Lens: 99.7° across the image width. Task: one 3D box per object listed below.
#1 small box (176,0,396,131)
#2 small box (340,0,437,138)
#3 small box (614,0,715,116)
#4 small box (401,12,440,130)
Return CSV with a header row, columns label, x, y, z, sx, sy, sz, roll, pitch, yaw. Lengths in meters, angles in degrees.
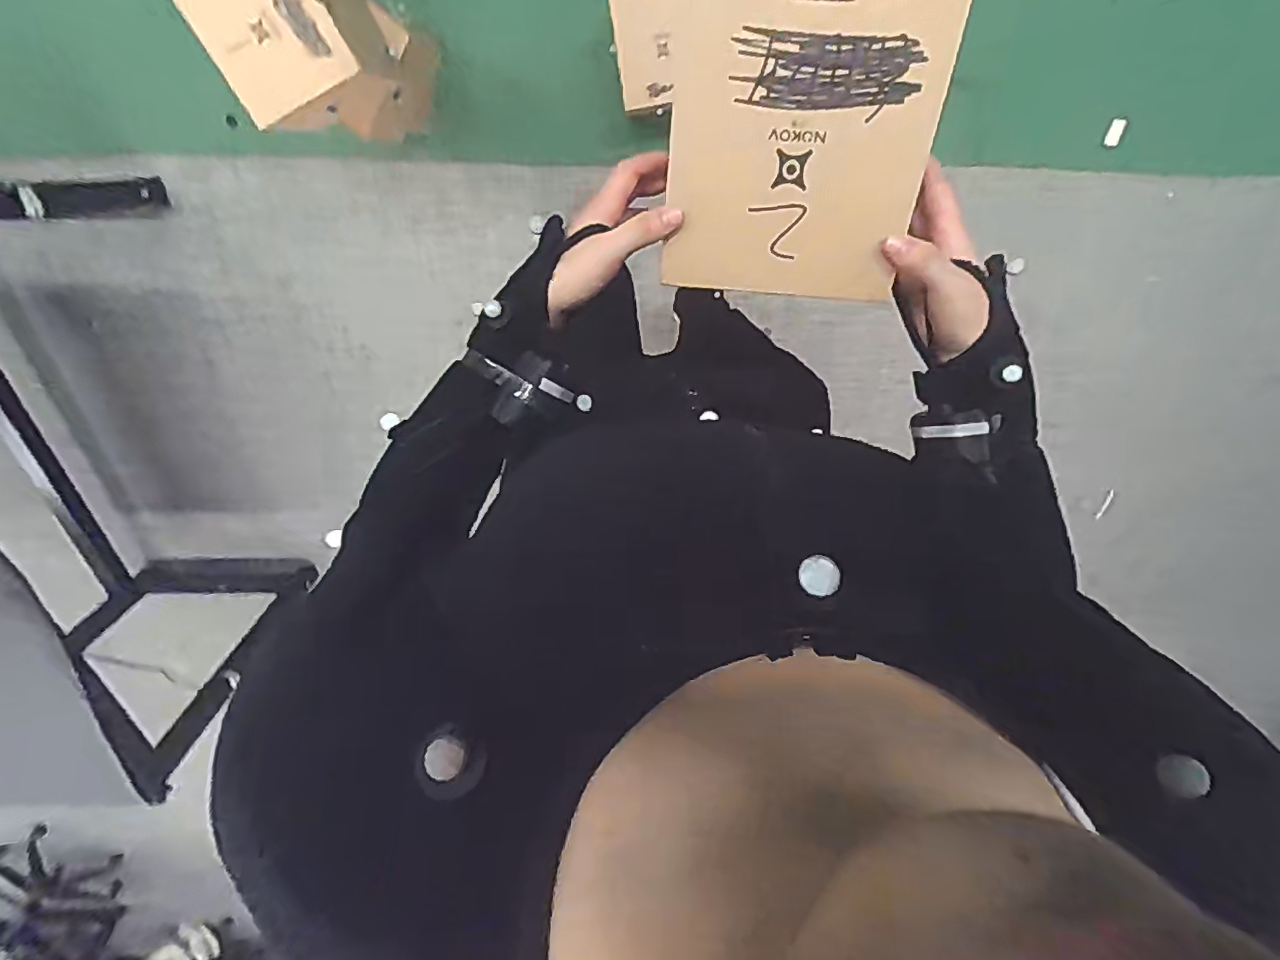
label,x,y,z,sx,sy,sz,roll,pitch,yaw
small box,-0.470,-0.613,0.751,0.179,0.176,0.168,-19,121,12
small box,-0.461,-0.699,0.892,0.168,0.176,0.179,33,115,-20
small box,0.044,-0.805,1.015,0.168,0.176,0.179,-8,120,4
small box,-0.492,-0.789,1.026,0.168,0.176,0.179,15,120,-10
